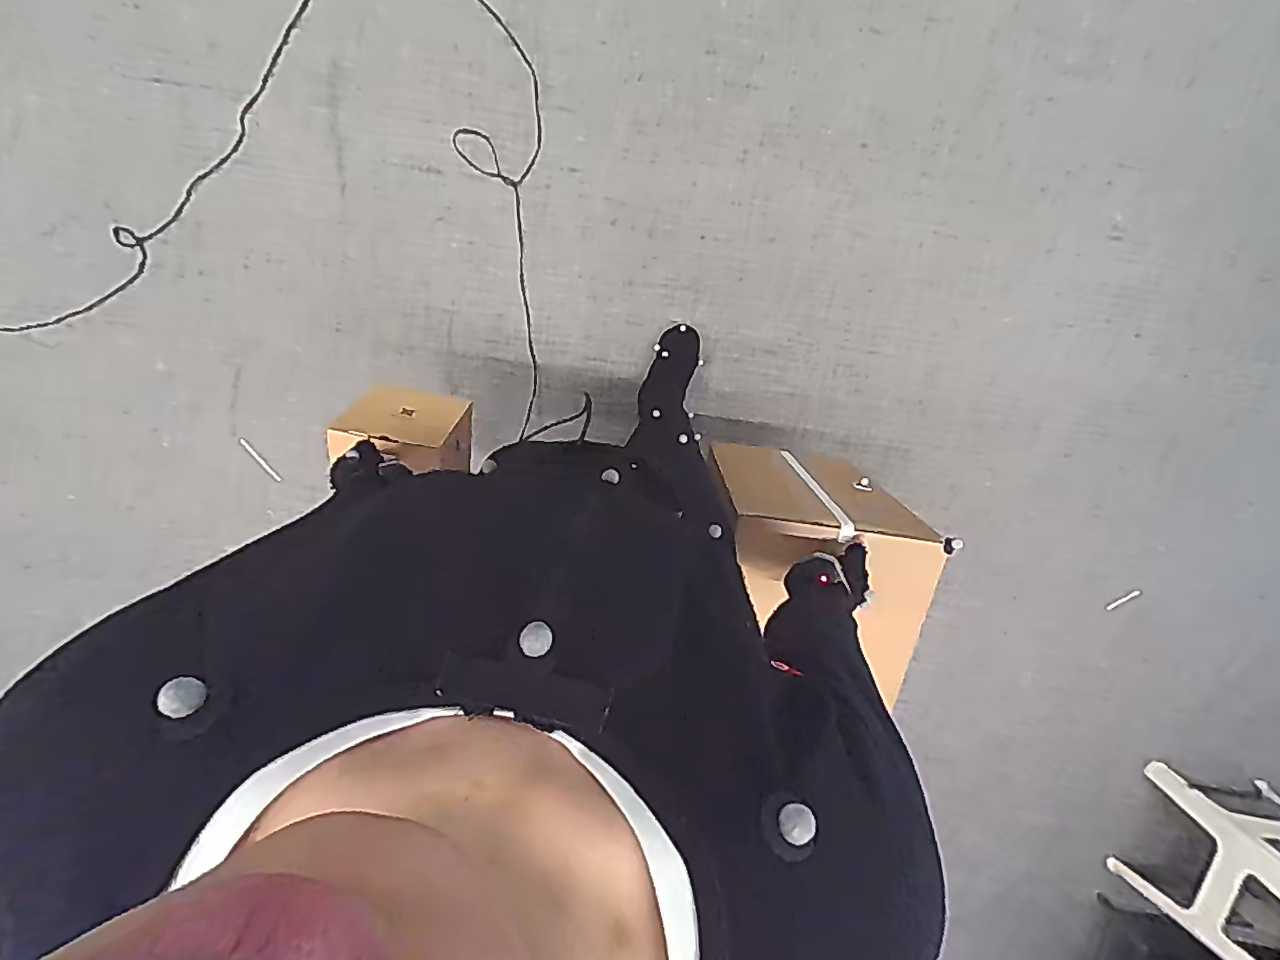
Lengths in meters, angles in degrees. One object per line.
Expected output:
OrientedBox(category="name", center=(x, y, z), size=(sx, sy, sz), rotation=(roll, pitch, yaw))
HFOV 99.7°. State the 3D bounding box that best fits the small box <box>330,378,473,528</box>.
OrientedBox(category="small box", center=(-0.389, -0.047, 0.906), size=(0.168, 0.179, 0.176), rotation=(10, 123, -5))
